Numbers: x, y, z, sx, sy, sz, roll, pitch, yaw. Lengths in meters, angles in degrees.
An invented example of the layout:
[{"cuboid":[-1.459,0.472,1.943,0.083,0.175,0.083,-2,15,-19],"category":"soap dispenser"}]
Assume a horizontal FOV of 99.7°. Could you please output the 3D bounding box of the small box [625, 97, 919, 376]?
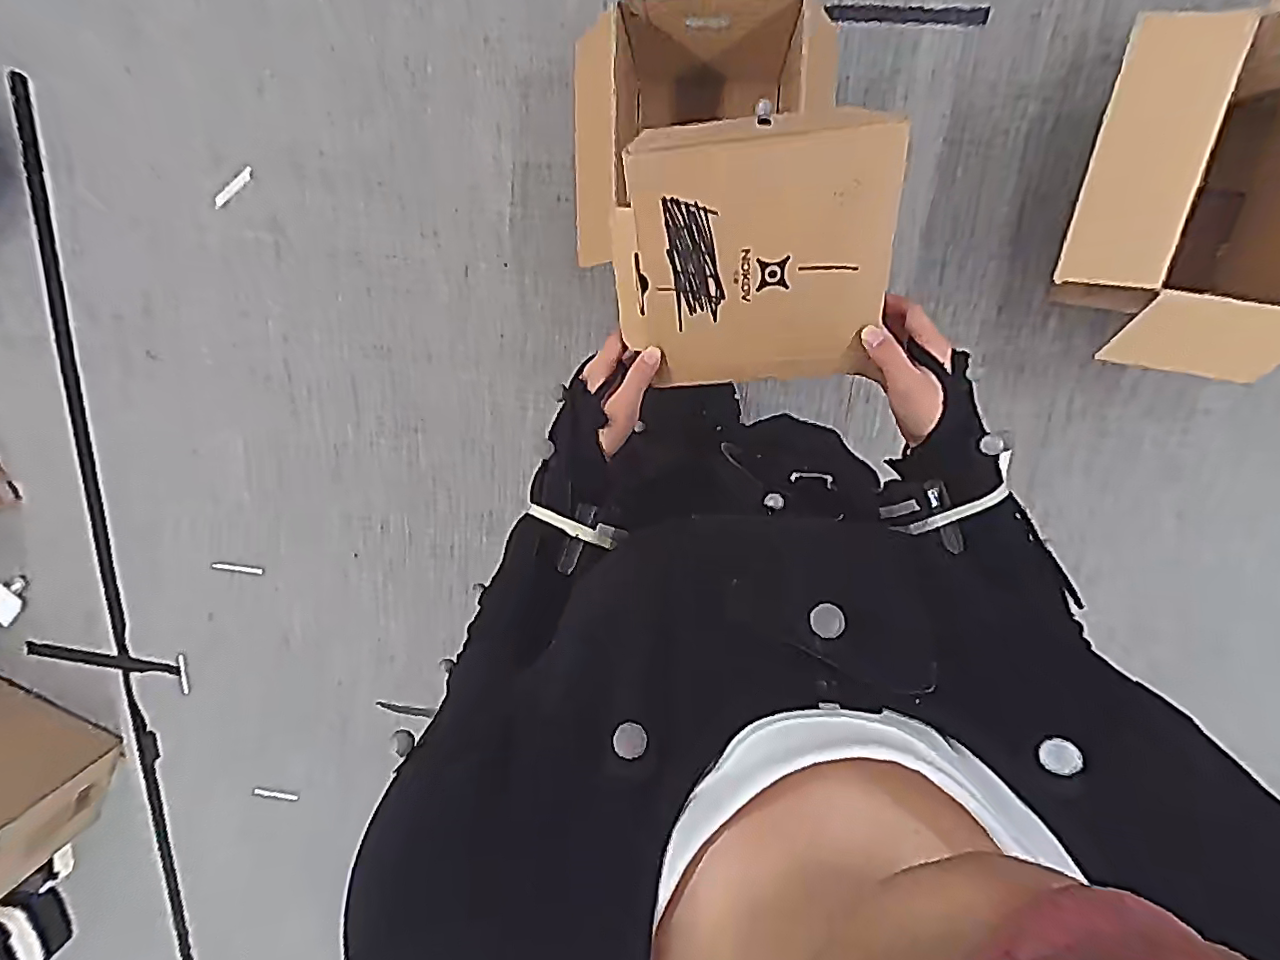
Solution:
[{"cuboid":[0.090,-0.197,0.433,0.179,0.176,0.168,-3,127,7],"category":"small box"}]
